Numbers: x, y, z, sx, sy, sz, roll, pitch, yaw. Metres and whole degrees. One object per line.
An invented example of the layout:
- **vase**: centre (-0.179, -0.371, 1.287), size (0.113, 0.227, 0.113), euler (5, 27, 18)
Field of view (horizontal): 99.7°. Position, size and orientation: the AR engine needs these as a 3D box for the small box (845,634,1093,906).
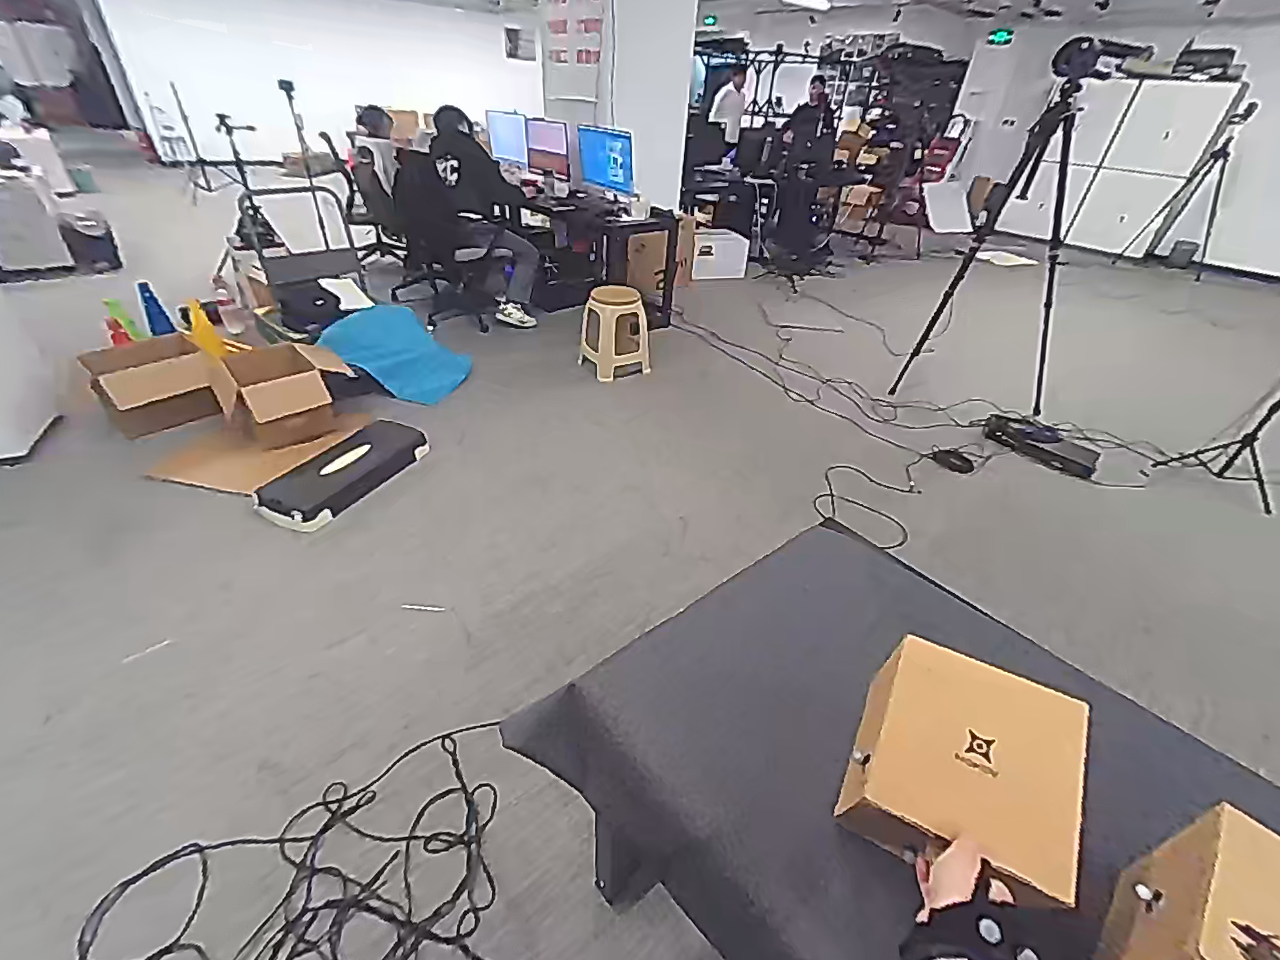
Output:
- **small box**: centre (0.327, 0.298, 0.561), size (0.168, 0.176, 0.179), euler (19, 58, 22)
